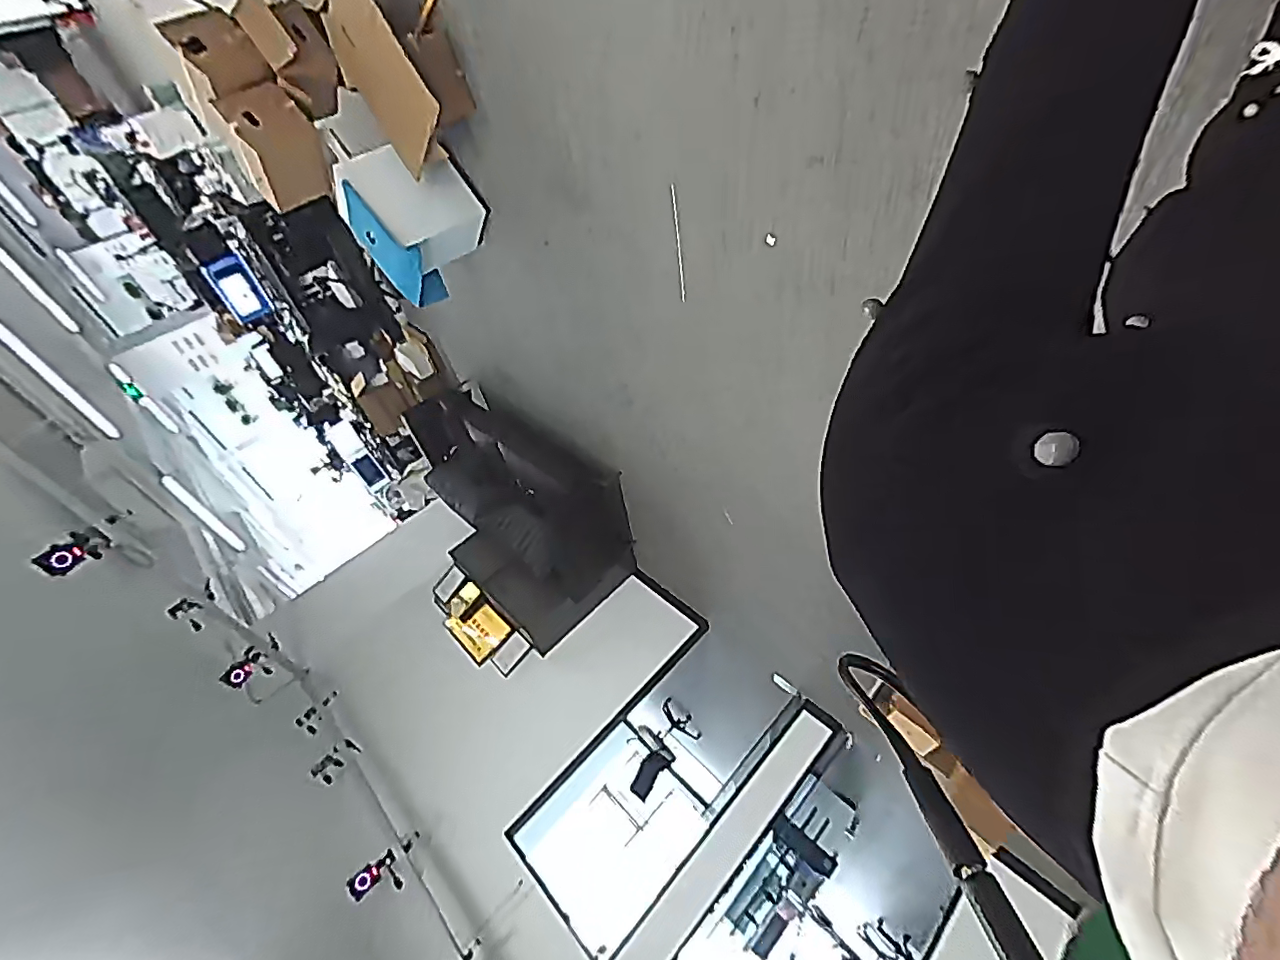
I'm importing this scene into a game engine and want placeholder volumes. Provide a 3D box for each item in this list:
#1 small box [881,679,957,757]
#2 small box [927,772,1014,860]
[{"bbox_3d":[1.023,0.869,1.979,0.168,0.176,0.179,36,150,29],"label":"small box"},{"bbox_3d":[1.095,1.110,1.791,0.168,0.176,0.179,35,150,30],"label":"small box"}]
